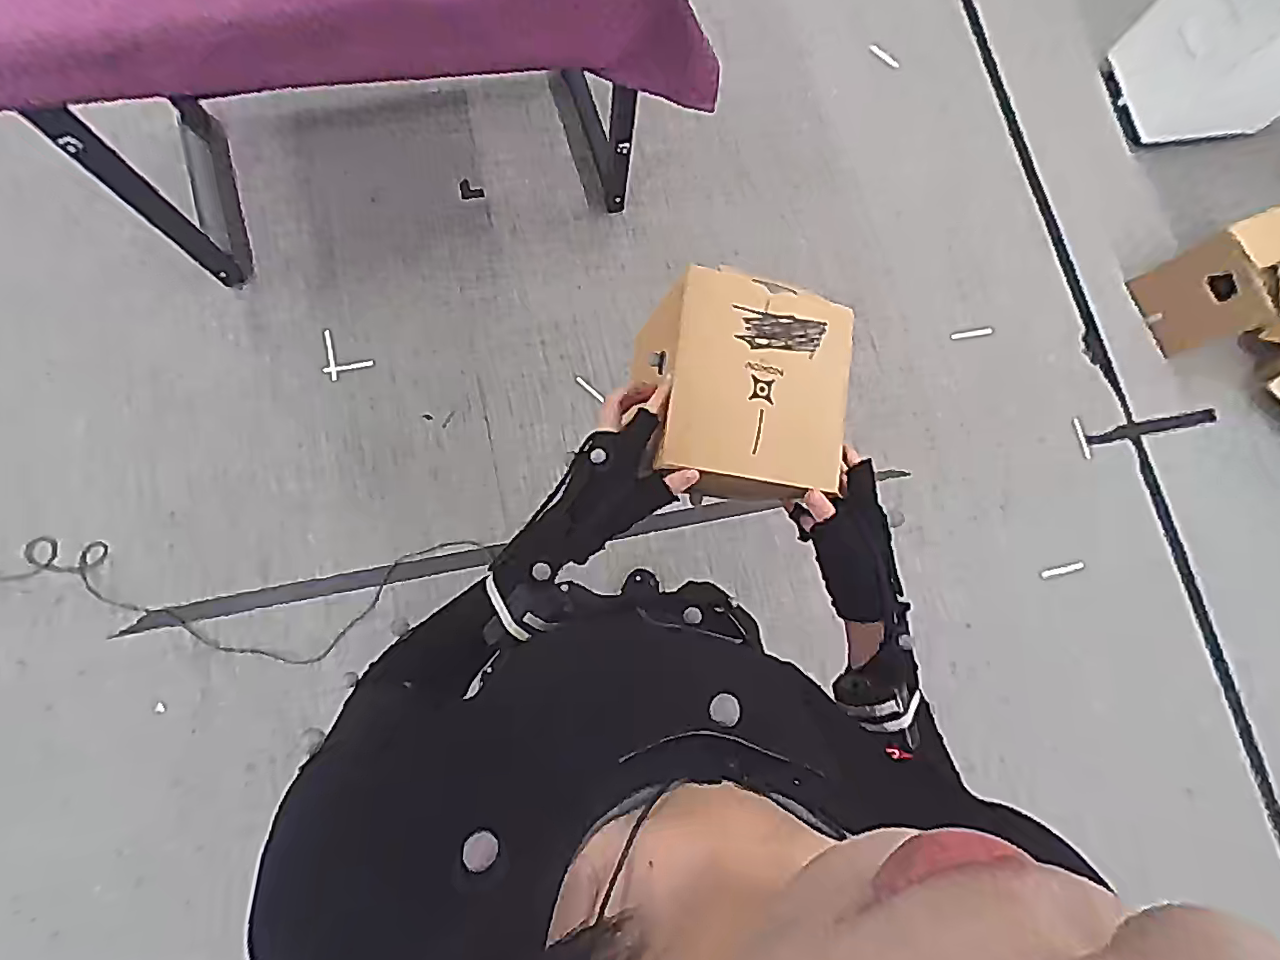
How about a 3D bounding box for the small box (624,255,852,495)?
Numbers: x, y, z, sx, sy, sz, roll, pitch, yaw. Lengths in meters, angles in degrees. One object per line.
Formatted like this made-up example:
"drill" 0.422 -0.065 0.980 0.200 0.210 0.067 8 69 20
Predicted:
"small box" 0.086 -0.086 0.539 0.168 0.176 0.179 8 83 -14
